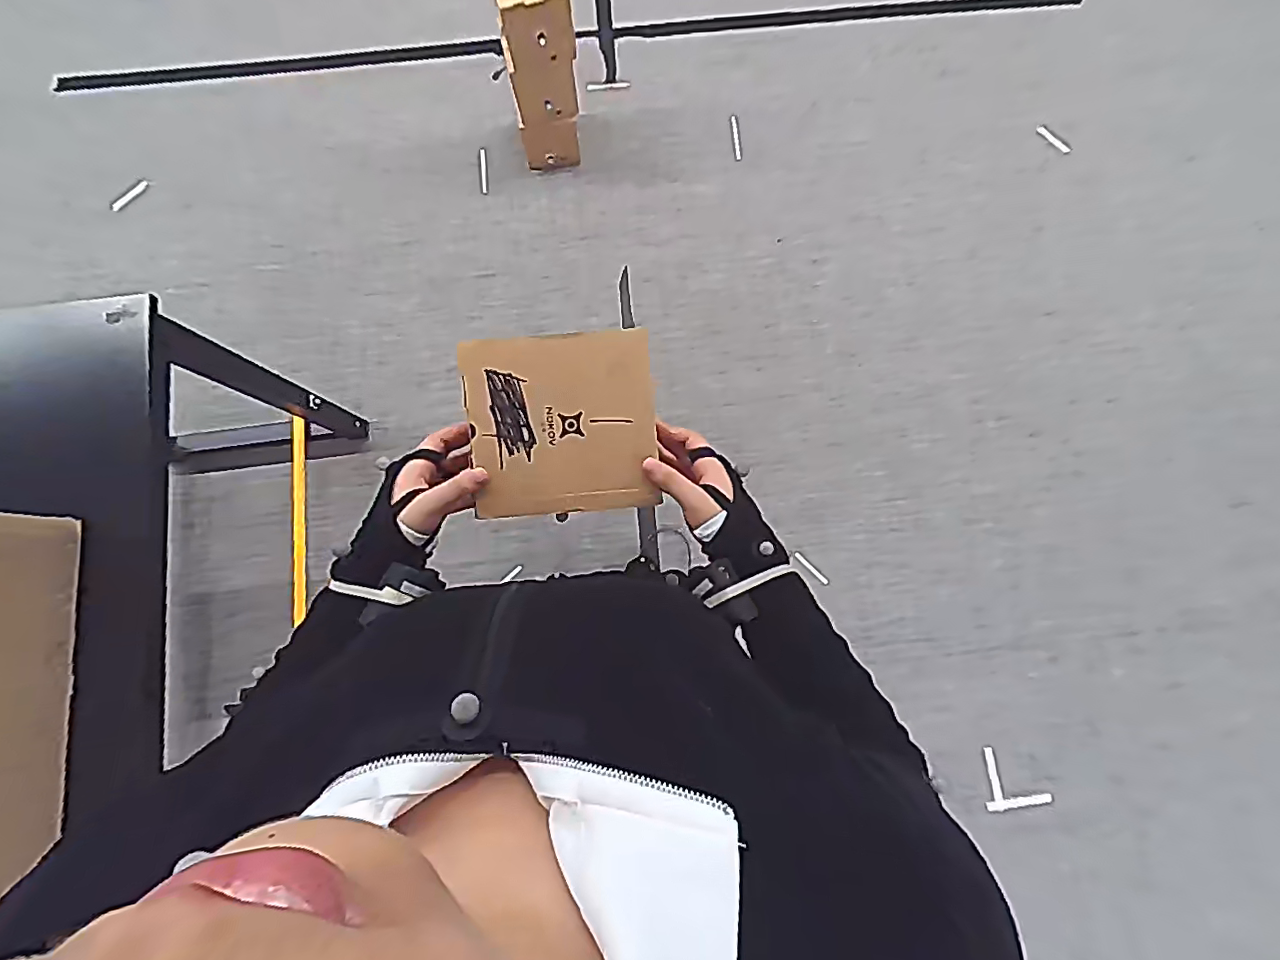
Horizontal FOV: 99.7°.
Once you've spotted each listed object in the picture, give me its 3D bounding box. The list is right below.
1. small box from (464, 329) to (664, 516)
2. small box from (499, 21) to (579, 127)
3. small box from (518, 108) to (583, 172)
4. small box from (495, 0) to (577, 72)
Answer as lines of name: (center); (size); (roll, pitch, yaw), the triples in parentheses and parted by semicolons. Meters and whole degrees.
small box: (-0.071, -0.056, 0.574); (0.179, 0.176, 0.168); (-4, 94, -2)
small box: (-0.268, -1.106, 1.463); (0.168, 0.176, 0.179); (-14, 81, -1)
small box: (-0.270, -1.067, 1.624); (0.168, 0.176, 0.179); (-9, 82, -1)
small box: (-0.256, -1.129, 1.300); (0.168, 0.176, 0.179); (-16, 82, -2)
